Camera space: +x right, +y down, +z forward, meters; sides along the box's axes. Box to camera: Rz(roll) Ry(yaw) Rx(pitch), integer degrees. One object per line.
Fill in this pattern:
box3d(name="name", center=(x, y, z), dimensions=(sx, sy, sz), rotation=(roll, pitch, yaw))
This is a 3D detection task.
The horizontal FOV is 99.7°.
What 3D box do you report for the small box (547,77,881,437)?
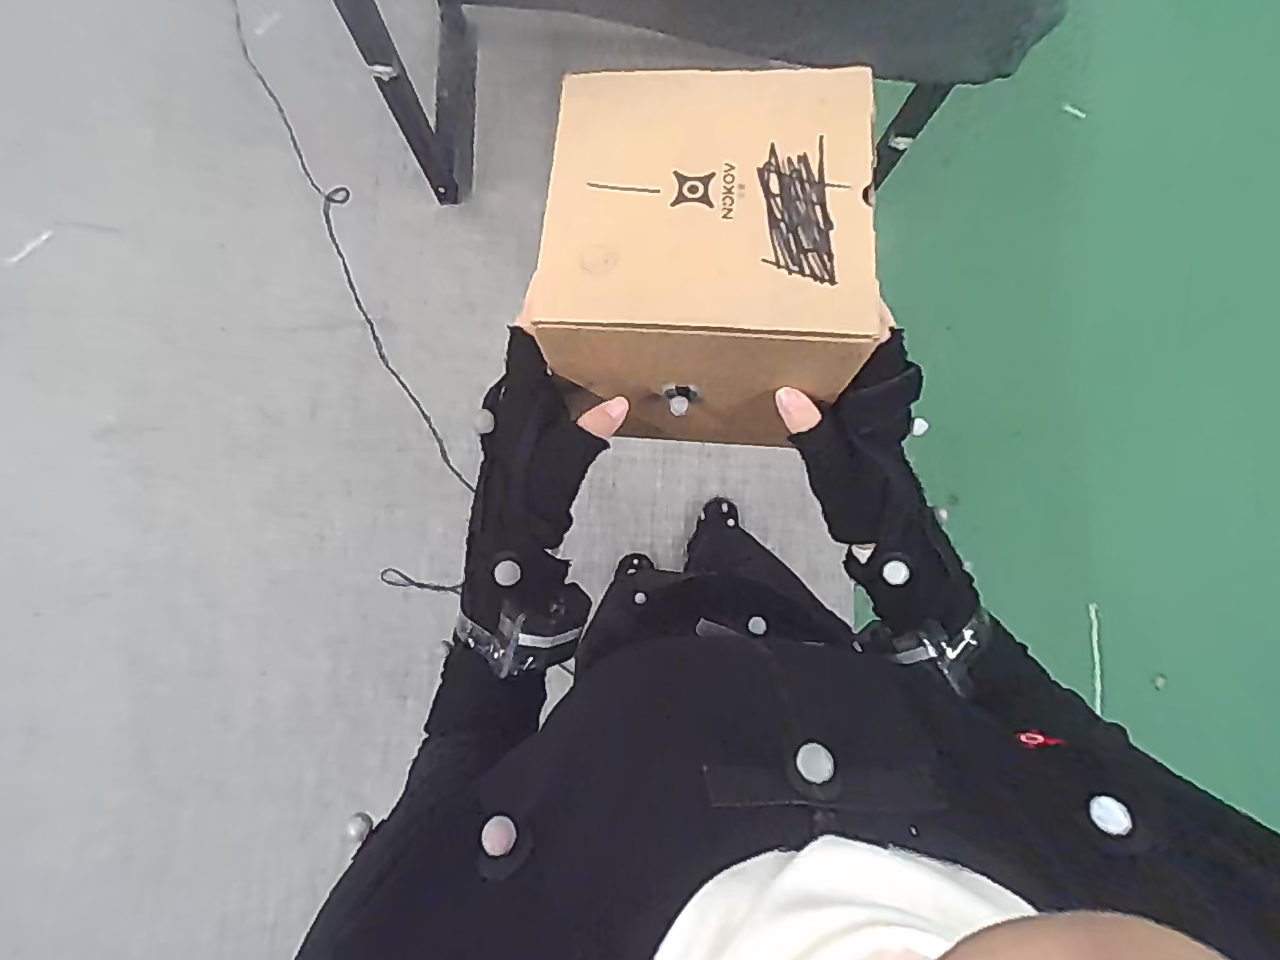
box3d(name="small box", center=(0.041, -0.133, 0.374), dimensions=(0.179, 0.176, 0.168), rotation=(1, 76, 1))
